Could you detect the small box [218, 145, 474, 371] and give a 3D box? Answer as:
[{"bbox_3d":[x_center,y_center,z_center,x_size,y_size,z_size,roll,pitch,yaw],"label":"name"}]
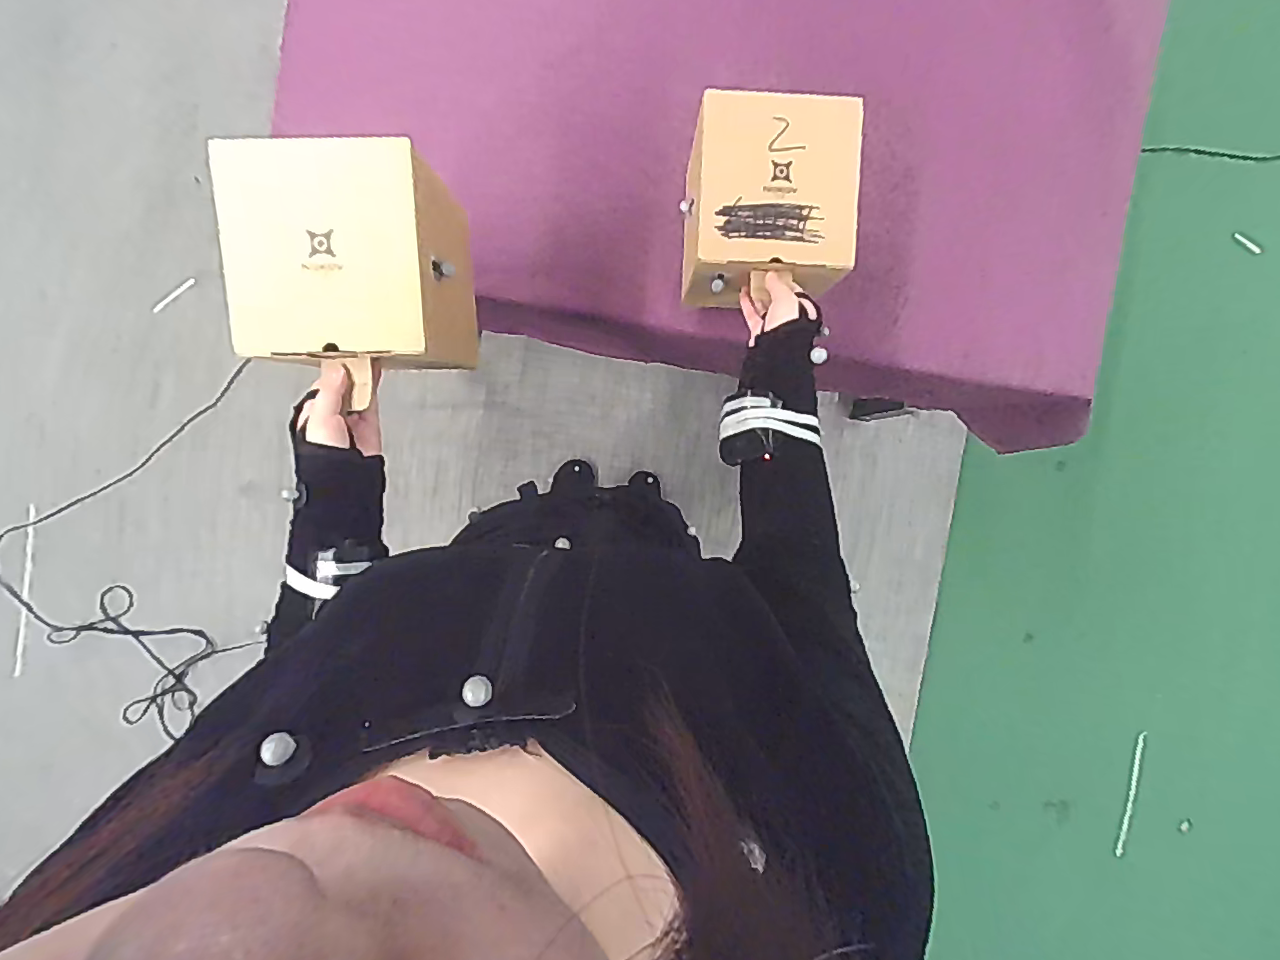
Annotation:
[{"bbox_3d":[-0.272,-0.204,0.542,0.168,0.176,0.179,-1,98,-2],"label":"small box"}]
